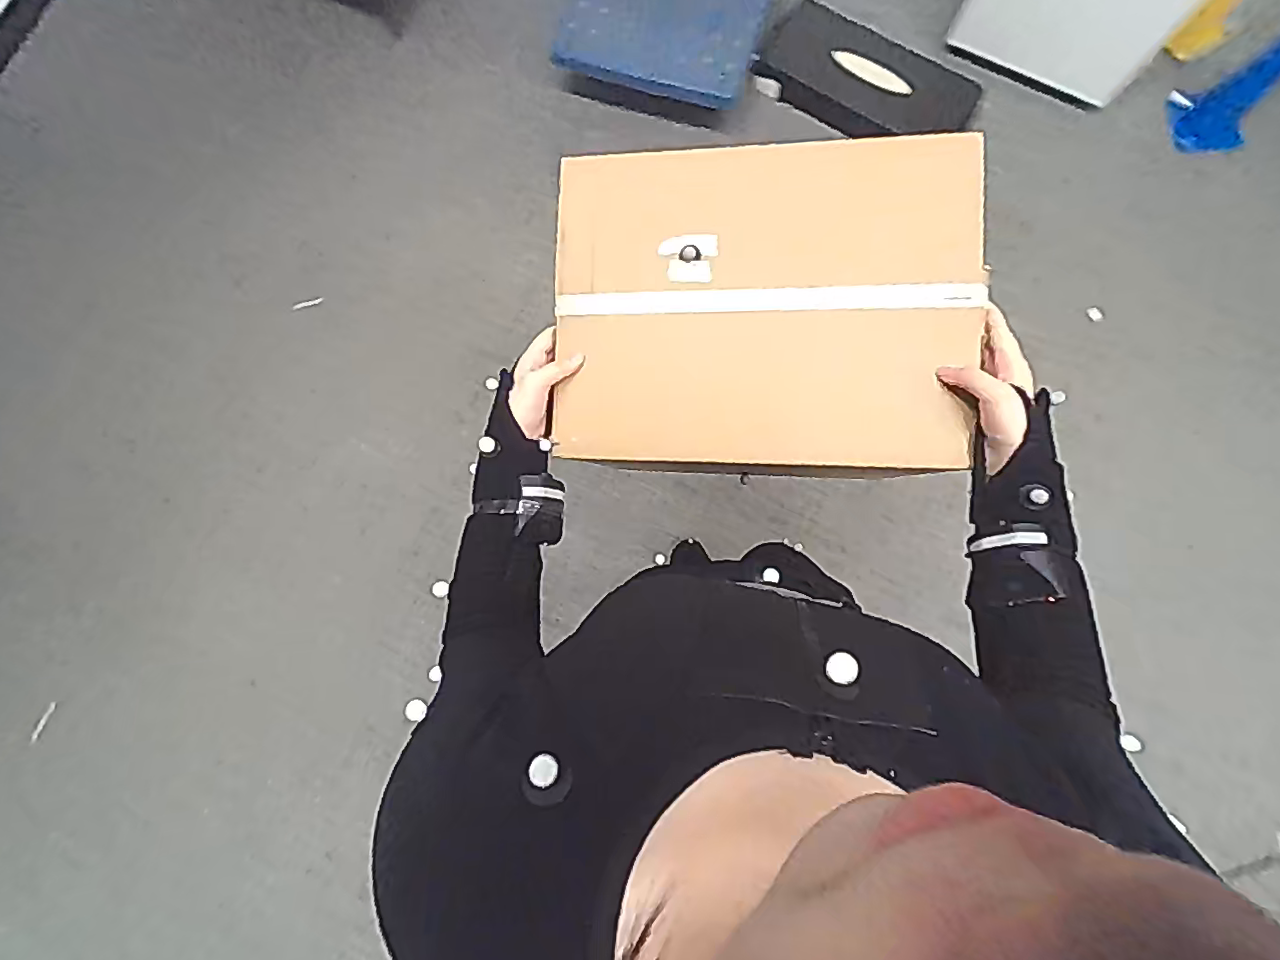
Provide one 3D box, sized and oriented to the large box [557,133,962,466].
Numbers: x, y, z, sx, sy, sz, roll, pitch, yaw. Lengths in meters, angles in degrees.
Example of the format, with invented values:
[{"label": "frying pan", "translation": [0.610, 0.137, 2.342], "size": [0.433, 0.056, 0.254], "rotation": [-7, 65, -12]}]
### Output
[{"label": "large box", "translation": [0.135, -0.174, 0.688], "size": [0.408, 0.320, 0.320], "rotation": [1, 89, 11]}]
